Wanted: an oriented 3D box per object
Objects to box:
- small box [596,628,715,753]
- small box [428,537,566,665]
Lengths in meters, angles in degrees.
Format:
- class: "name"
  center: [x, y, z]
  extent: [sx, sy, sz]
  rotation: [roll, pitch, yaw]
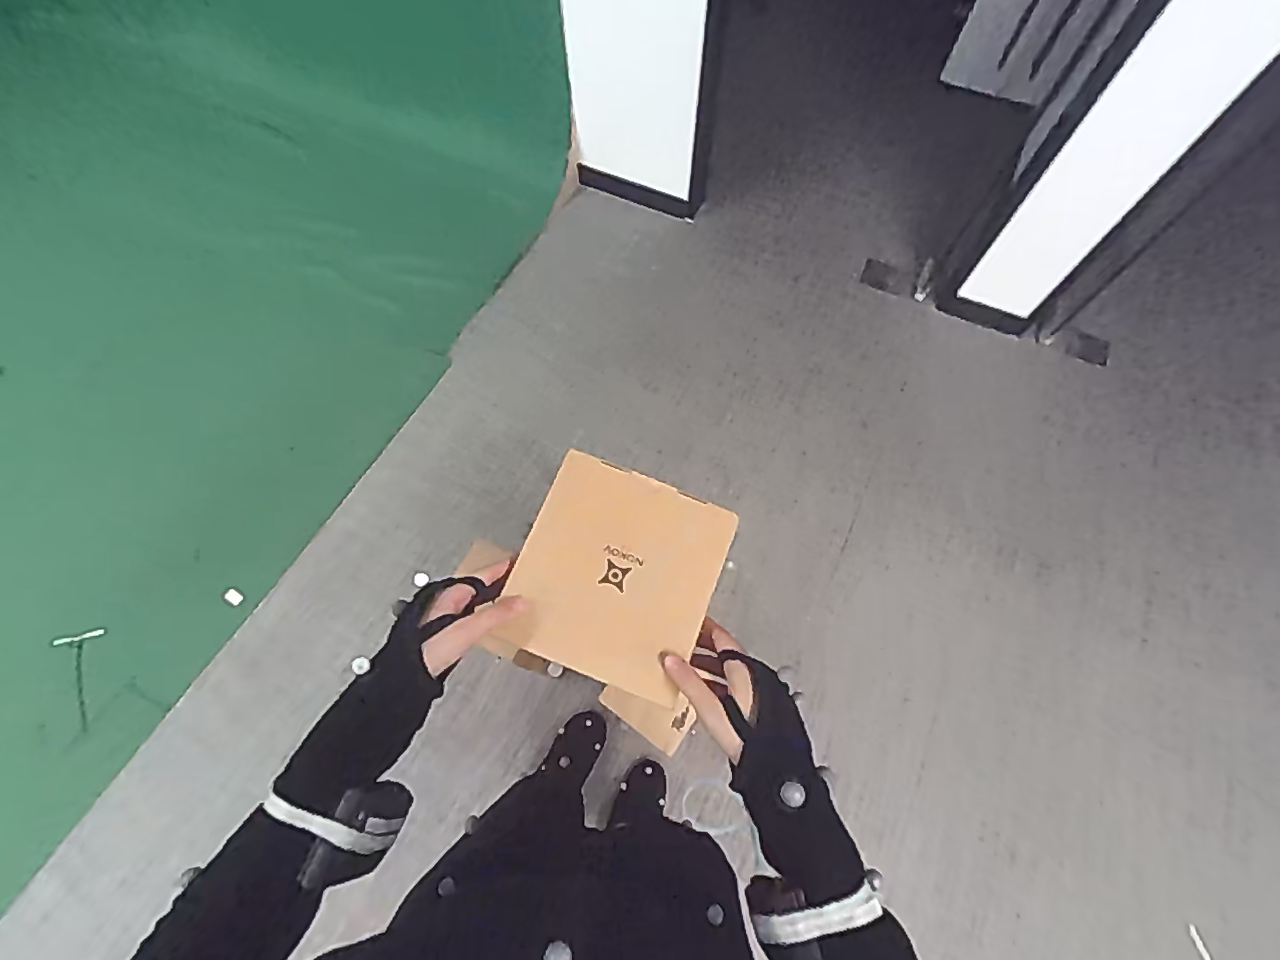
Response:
- class: "small box"
  center: [0.032, 0.439, 1.116]
  extent: [0.179, 0.176, 0.168]
  rotation: [34, 70, 16]
- class: "small box"
  center: [-0.257, 0.236, 1.026]
  extent: [0.179, 0.176, 0.168]
  rotation: [24, 67, 11]
